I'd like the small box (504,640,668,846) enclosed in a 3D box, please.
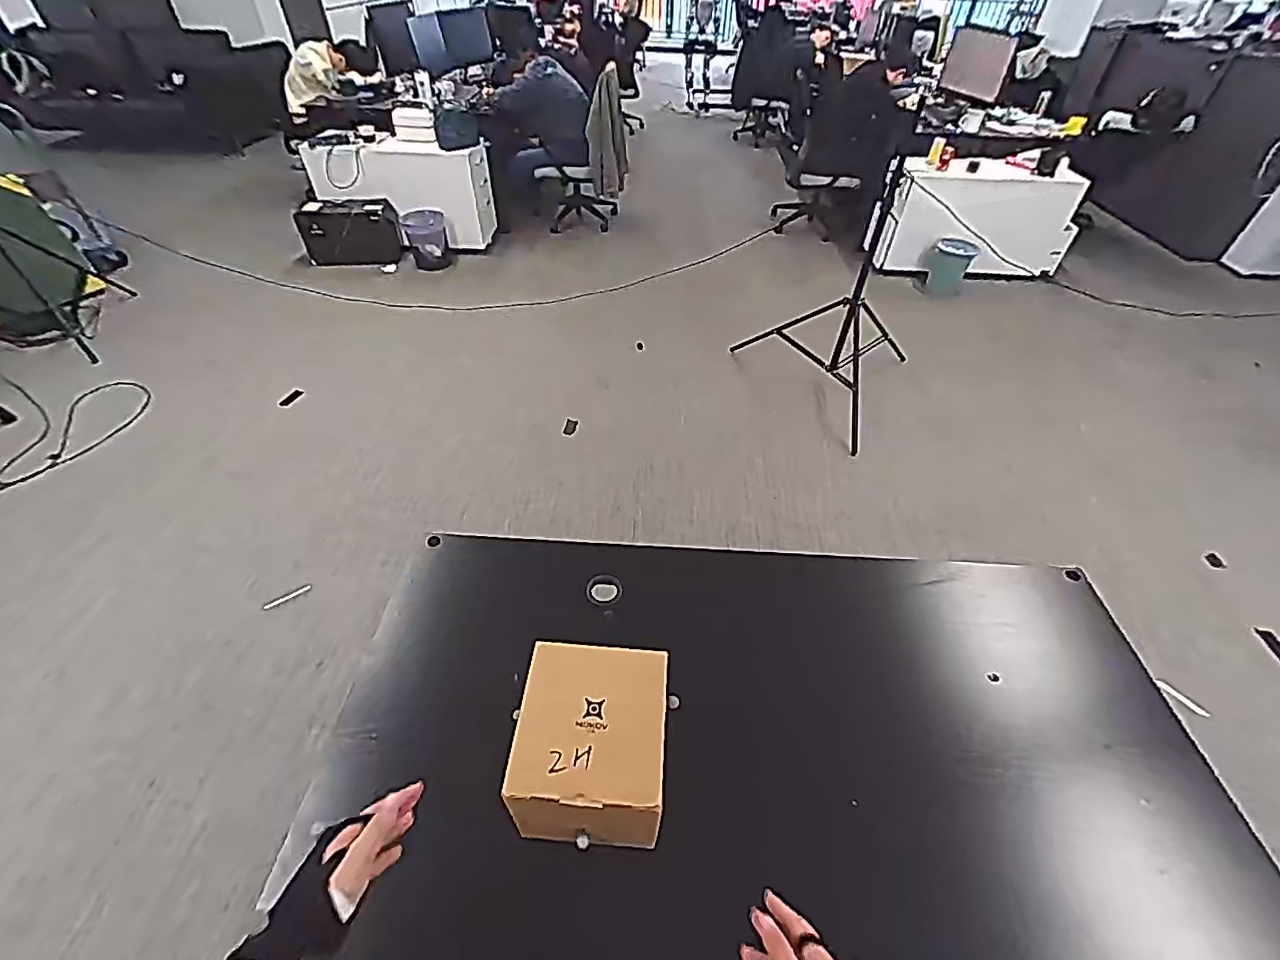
[{"bbox_3d":[-0.055,0.322,0.666,0.168,0.176,0.179,3,44,2],"label":"small box"}]
